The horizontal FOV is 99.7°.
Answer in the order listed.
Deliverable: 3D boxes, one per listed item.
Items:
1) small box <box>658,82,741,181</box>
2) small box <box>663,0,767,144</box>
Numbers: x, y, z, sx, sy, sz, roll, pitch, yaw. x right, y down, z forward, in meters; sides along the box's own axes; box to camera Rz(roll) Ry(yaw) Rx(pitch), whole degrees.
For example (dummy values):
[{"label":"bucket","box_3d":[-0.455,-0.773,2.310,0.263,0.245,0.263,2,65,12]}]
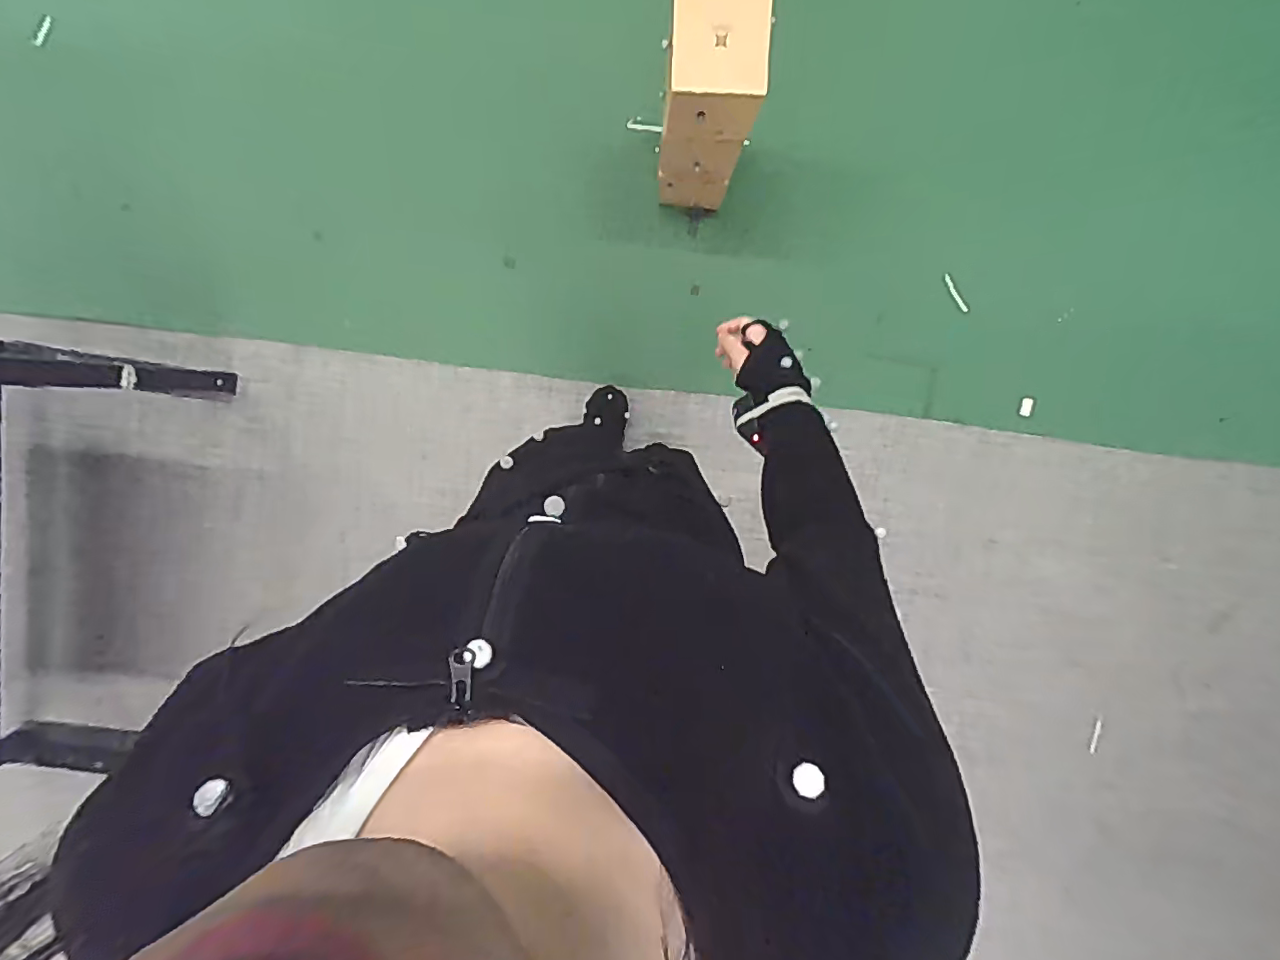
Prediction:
[{"label":"small box","box_3d":[0.128,-0.773,1.155,0.168,0.176,0.179,4,97,-1]},{"label":"small box","box_3d":[0.131,-0.749,0.995,0.168,0.176,0.179,1,96,-1]}]
